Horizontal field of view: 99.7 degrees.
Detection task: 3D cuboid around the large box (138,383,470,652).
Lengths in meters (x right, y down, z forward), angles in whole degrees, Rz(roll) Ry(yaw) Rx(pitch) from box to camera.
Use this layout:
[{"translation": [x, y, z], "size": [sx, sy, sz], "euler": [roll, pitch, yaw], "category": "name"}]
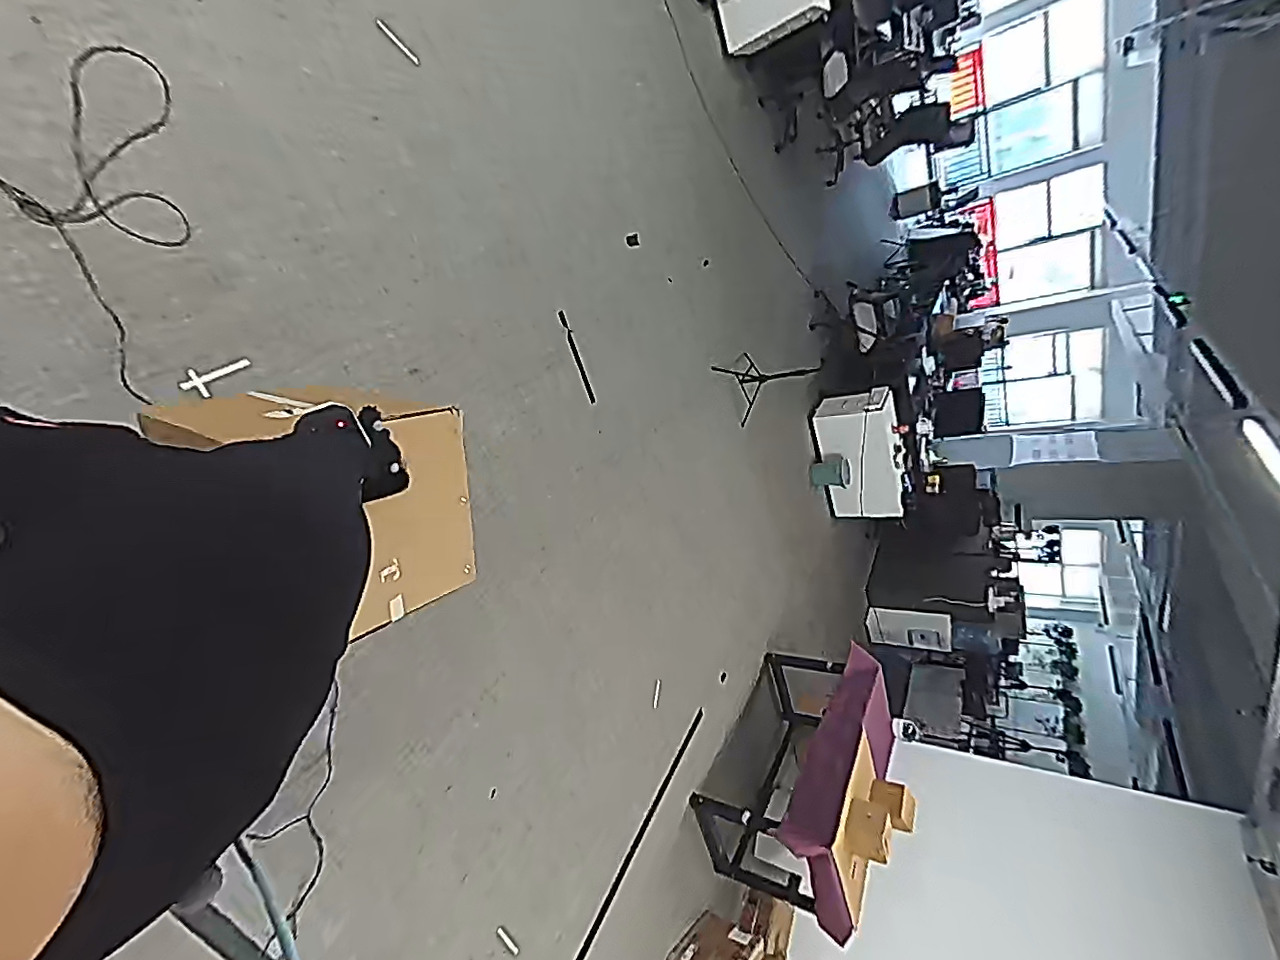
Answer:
[{"translation": [-0.547, 0.026, 0.915], "size": [0.320, 0.408, 0.320], "euler": [-26, 123, -52], "category": "large box"}]
